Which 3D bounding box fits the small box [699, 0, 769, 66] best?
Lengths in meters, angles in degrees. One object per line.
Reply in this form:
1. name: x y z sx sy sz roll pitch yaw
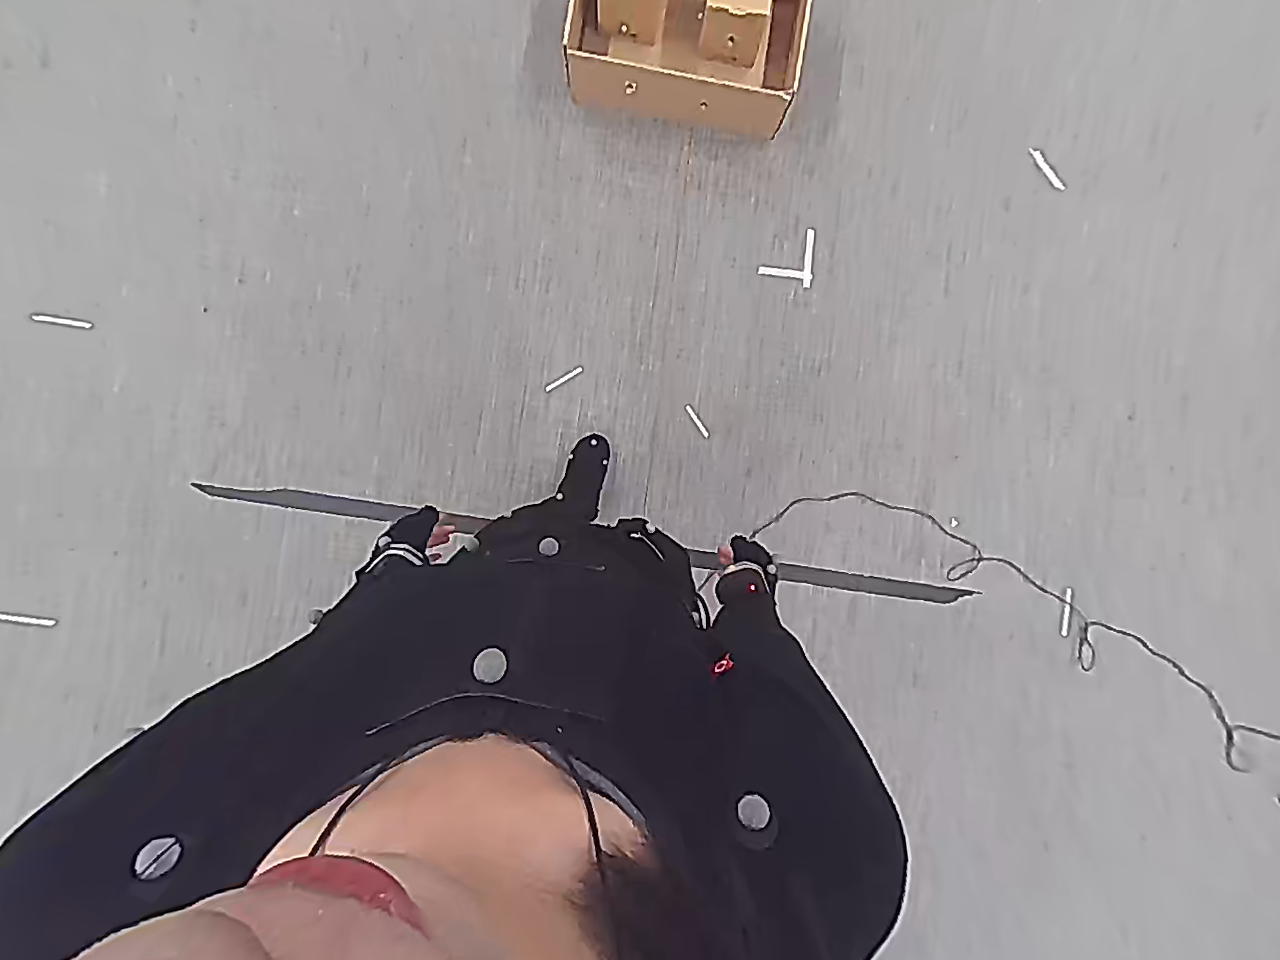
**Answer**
1. small box: 0.258 -1.273 1.462 0.168 0.176 0.179 11 89 0
